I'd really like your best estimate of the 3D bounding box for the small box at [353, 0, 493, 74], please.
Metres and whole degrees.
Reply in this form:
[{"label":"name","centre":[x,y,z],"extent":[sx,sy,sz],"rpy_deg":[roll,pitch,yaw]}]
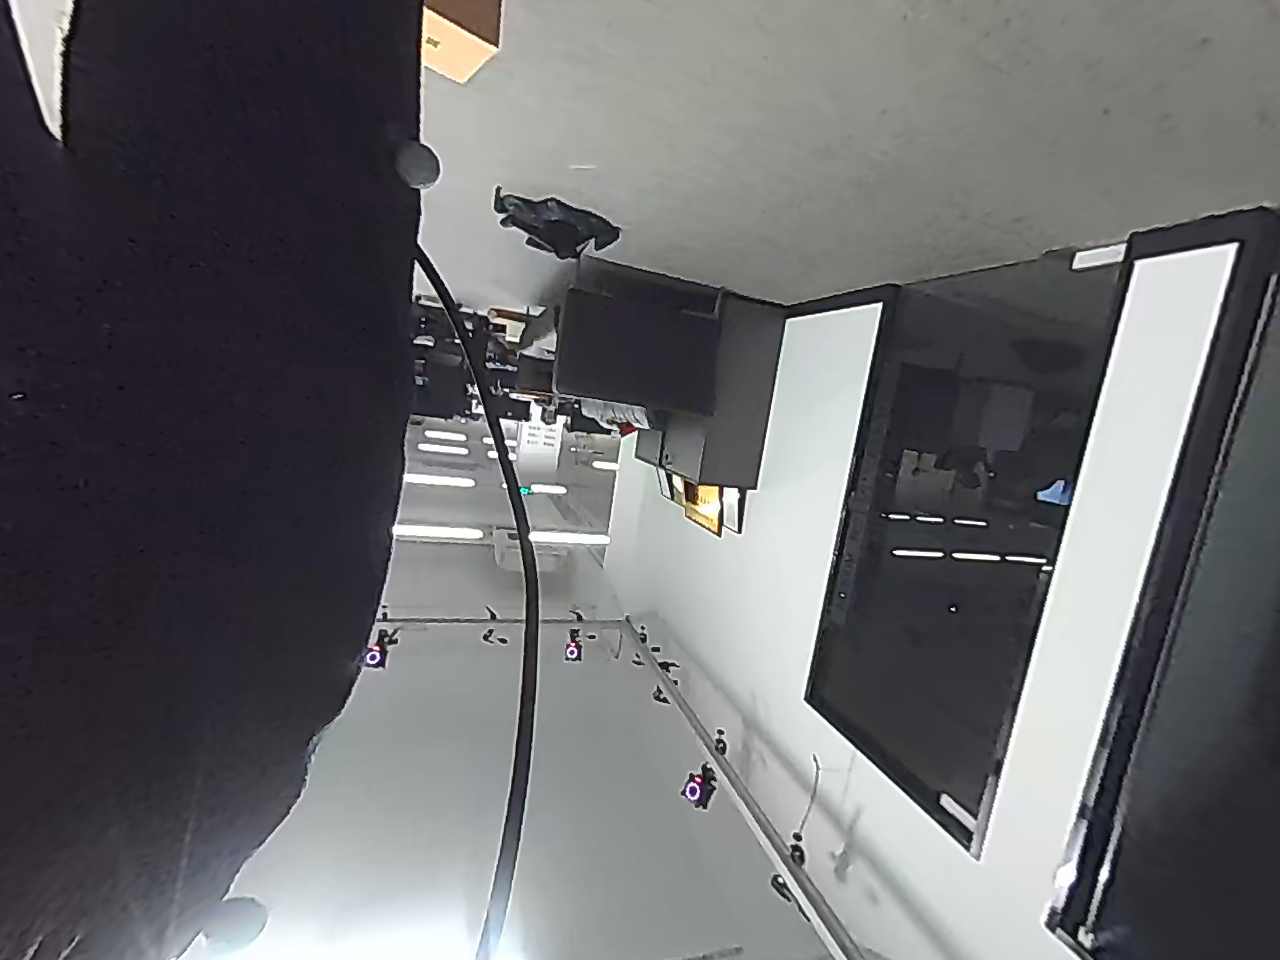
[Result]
[{"label":"small box","centre":[-0.337,-0.801,0.856],"extent":[0.179,0.176,0.168],"rpy_deg":[2,-169,-40]}]
